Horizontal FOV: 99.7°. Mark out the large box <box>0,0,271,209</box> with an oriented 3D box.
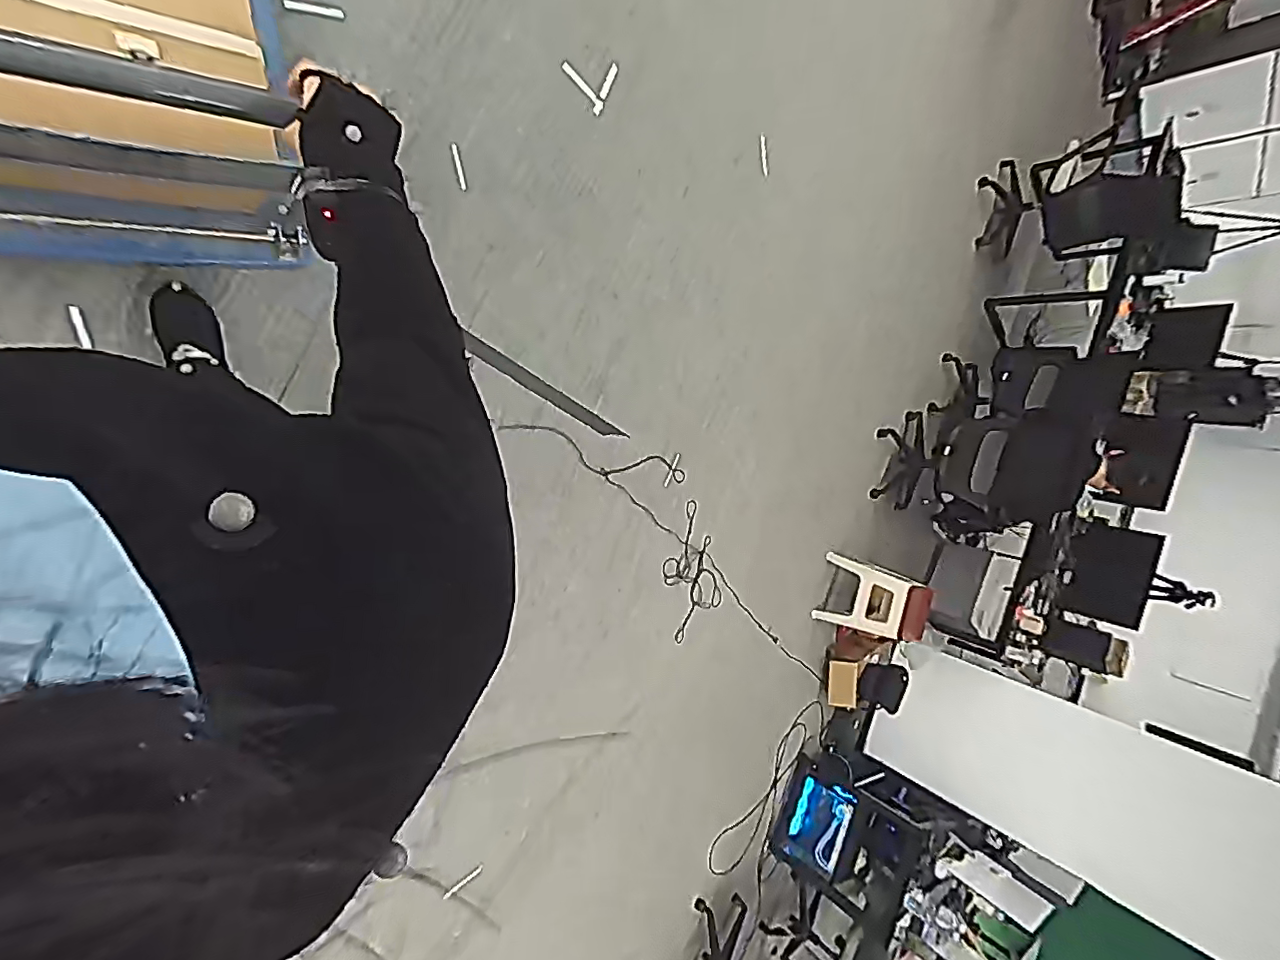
[{"bbox_3d":[-0.809,-0.598,0.757,0.408,0.320,0.320,-14,109,-41],"label":"large box"}]
